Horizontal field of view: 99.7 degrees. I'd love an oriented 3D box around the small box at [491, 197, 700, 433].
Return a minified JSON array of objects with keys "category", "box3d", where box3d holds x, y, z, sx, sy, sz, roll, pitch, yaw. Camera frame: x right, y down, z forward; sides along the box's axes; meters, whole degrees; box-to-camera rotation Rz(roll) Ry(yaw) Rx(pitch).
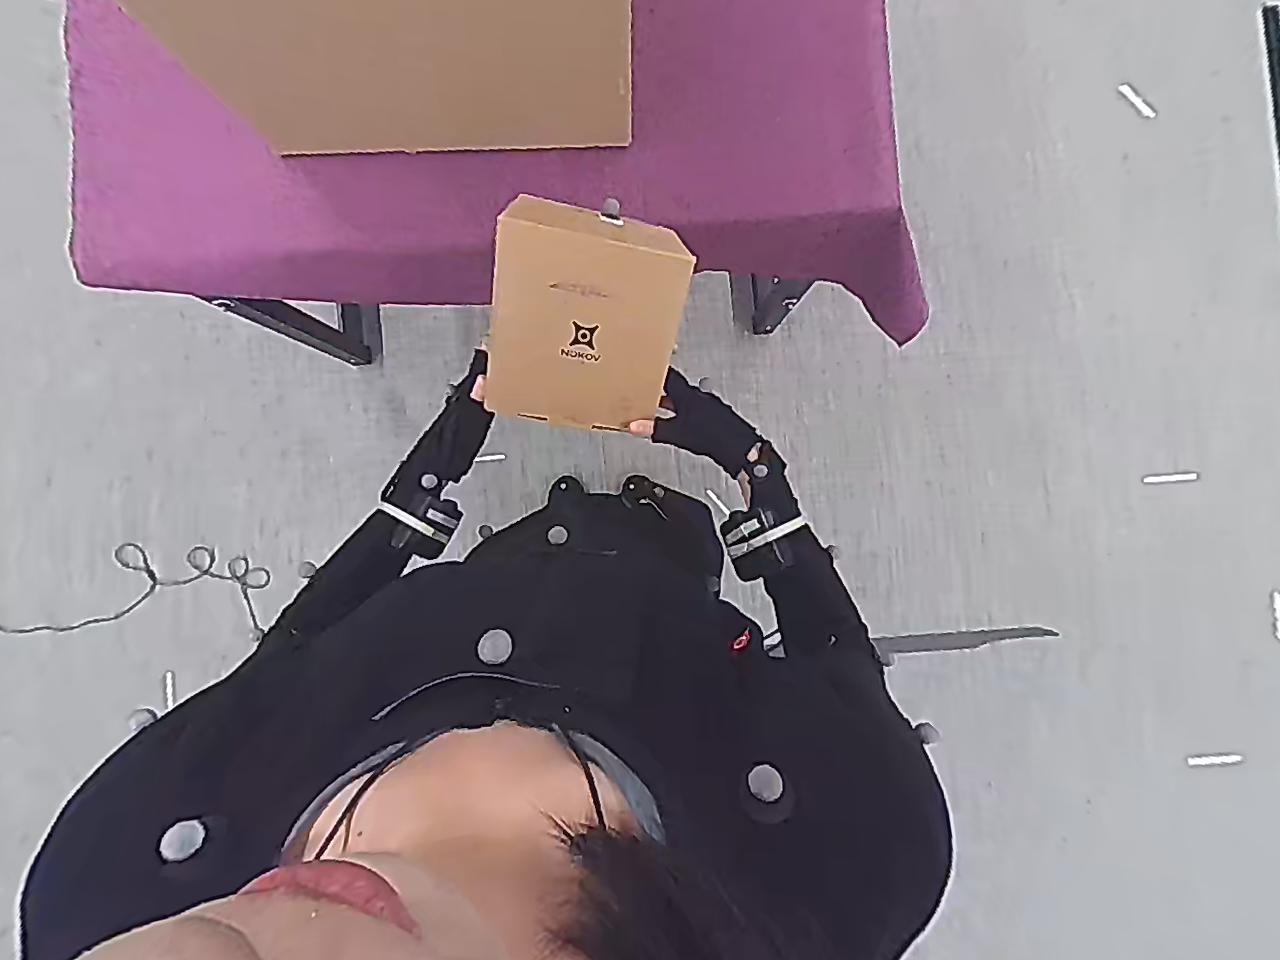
[{"category":"small box","box3d":[-0.052,-0.172,0.556,0.168,0.176,0.179,8,120,-11]}]
